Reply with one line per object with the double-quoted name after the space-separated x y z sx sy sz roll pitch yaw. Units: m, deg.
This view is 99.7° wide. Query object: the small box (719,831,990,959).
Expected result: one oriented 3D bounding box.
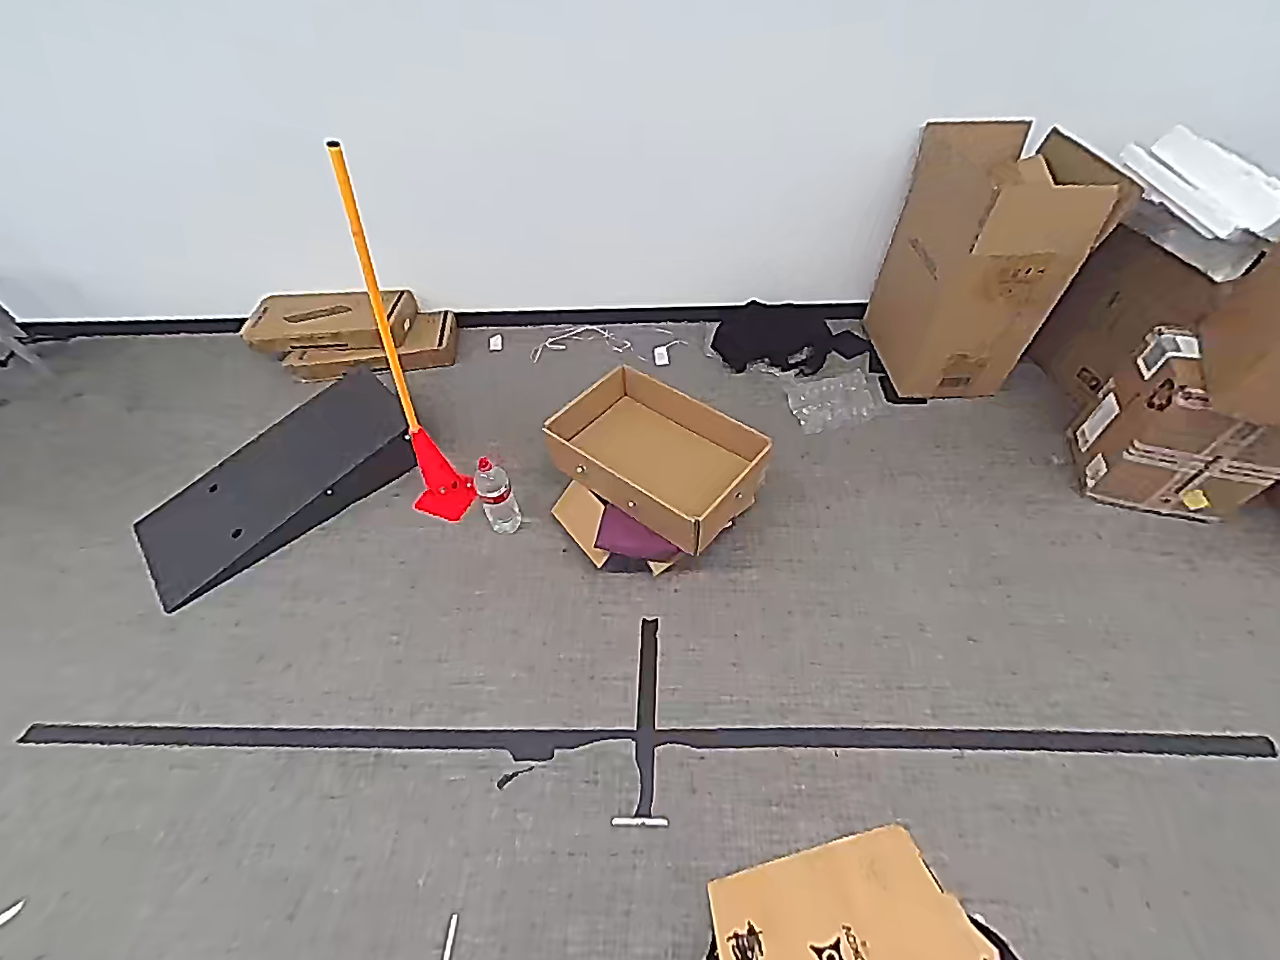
0.175 0.418 0.405 0.179 0.176 0.168 -17 11 1 "small box"
